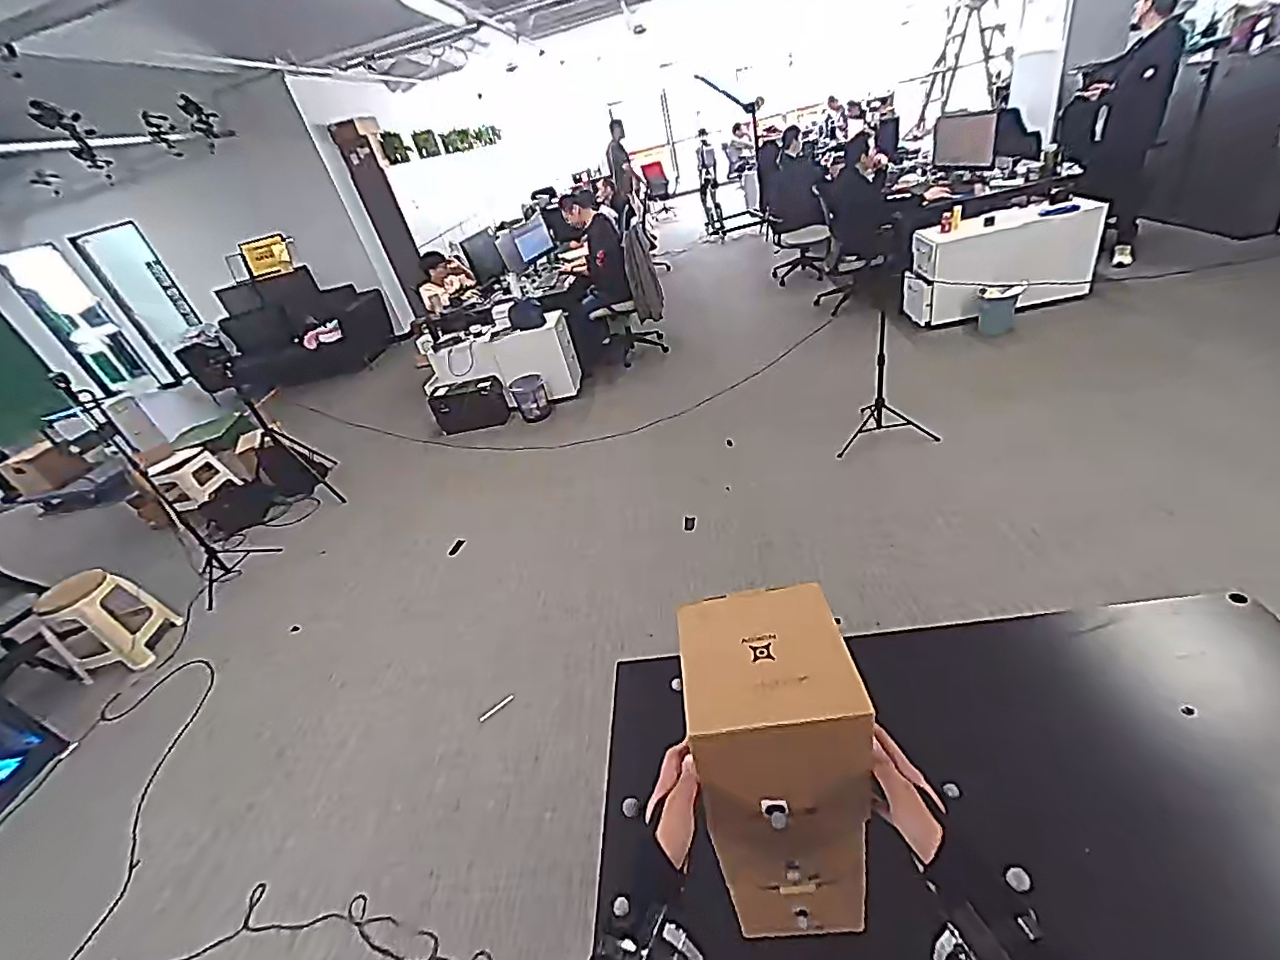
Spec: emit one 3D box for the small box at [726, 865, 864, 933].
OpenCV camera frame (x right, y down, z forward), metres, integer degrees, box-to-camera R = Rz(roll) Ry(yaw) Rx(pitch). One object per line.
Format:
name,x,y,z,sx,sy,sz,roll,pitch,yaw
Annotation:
small box,0.209,0.509,0.763,0.168,0.176,0.179,-10,33,8

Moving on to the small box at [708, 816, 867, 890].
small box,0.172,0.374,0.675,0.168,0.176,0.179,-11,33,8

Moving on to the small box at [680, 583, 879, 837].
small box,0.137,0.237,0.573,0.168,0.176,0.179,-9,28,5
